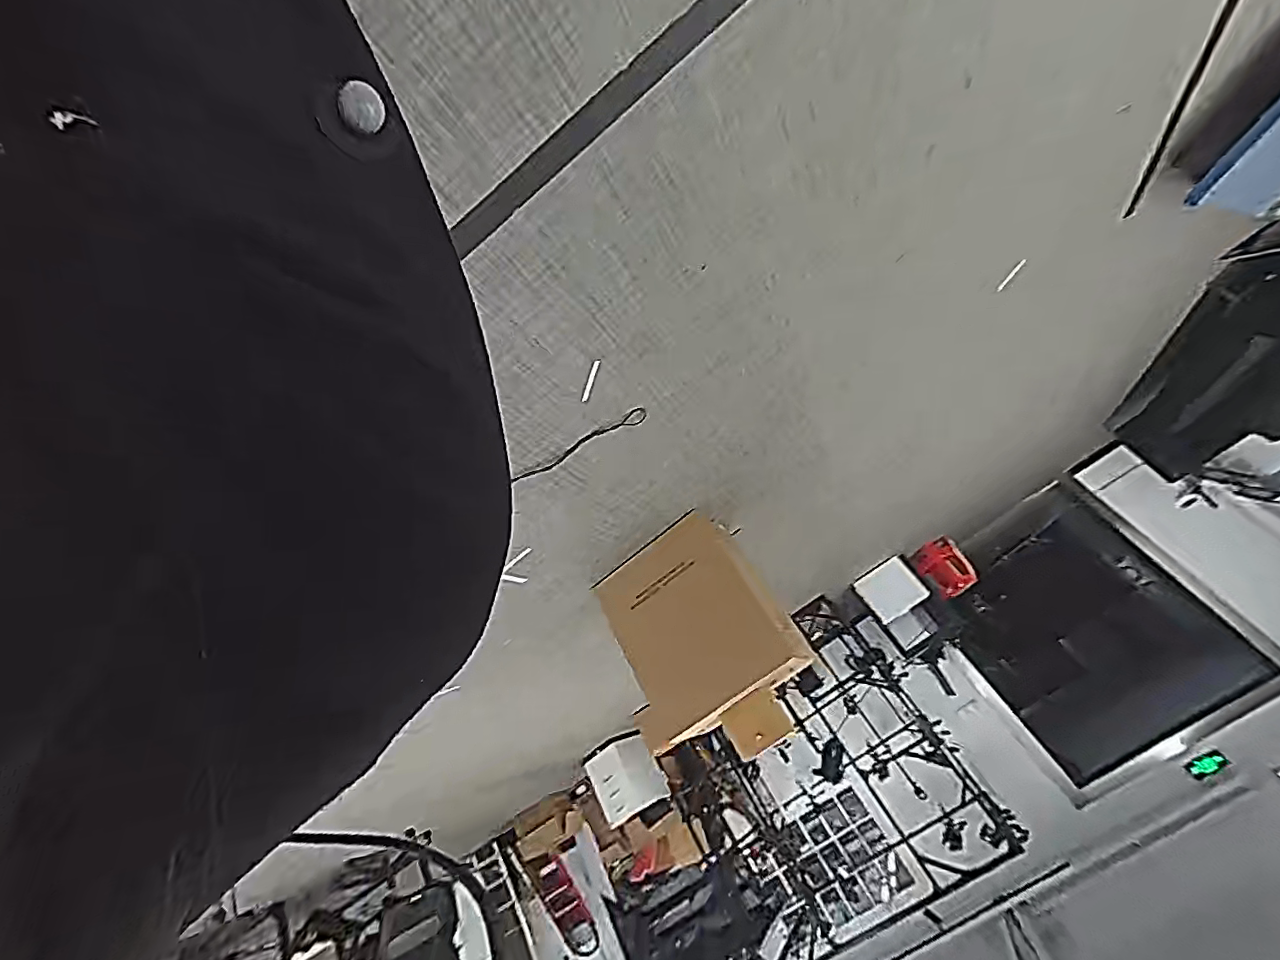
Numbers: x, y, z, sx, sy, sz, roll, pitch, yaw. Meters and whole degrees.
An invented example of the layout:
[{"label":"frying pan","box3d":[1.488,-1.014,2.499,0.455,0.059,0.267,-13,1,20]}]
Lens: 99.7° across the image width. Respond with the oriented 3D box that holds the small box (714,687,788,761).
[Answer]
[{"label":"small box","box3d":[0.375,0.834,1.860,0.179,0.176,0.168,-40,149,10]}]
